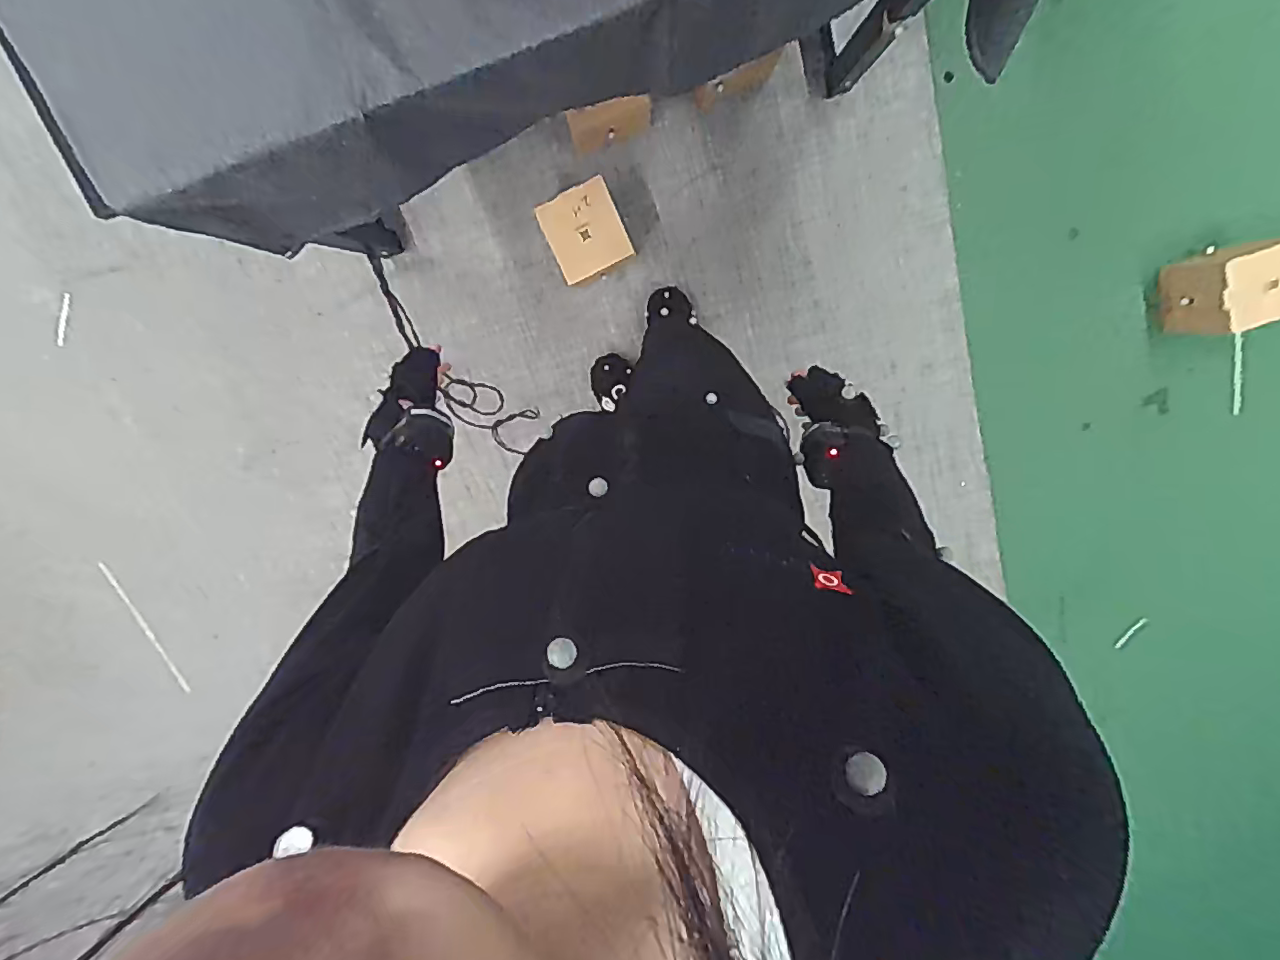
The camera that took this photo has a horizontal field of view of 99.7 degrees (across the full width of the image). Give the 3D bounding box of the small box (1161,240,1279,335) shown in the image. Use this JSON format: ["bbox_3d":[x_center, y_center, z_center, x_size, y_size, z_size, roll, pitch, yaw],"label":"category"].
[{"bbox_3d":[1.379,-0.447,1.270,0.179,0.176,0.168,-18,106,7],"label":"small box"}]

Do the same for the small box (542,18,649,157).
[{"bbox_3d":[-0.089,-0.831,1.166,0.179,0.176,0.168,-19,106,7],"label":"small box"}]
